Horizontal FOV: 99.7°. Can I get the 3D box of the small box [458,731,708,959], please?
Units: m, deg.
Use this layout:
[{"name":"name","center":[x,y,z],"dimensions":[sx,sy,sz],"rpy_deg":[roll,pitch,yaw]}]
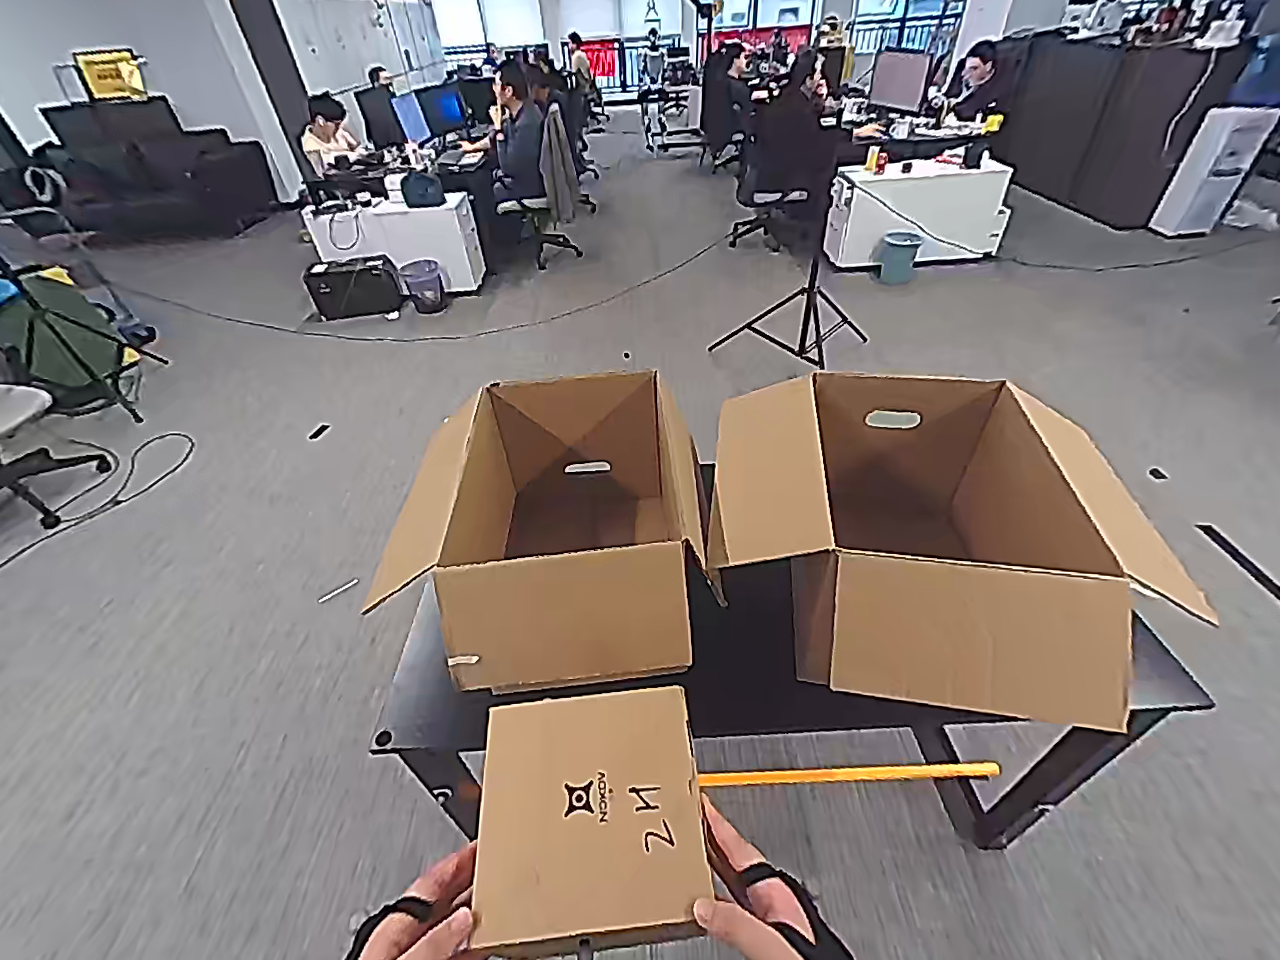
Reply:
[{"name":"small box","center":[-0.040,0.340,0.472],"dimensions":[0.179,0.176,0.168],"rpy_deg":[-5,47,-2]}]
